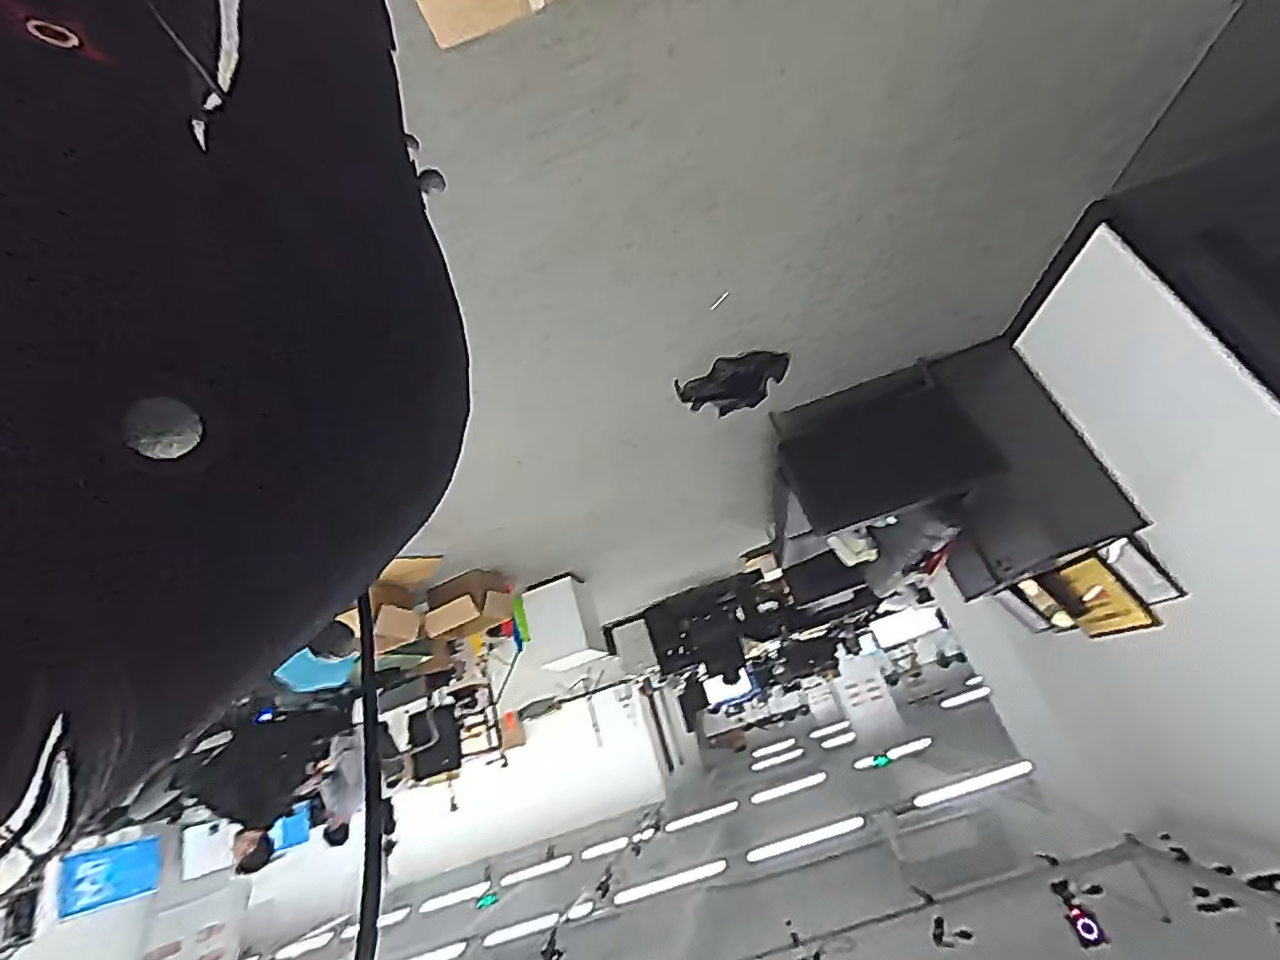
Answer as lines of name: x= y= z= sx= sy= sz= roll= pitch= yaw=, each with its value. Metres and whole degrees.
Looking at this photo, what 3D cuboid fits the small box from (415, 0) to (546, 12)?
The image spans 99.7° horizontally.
small box: x=-0.138 y=-0.547 z=0.459 sx=0.179 sy=0.176 sz=0.168 roll=-15 pitch=155 yaw=-10
